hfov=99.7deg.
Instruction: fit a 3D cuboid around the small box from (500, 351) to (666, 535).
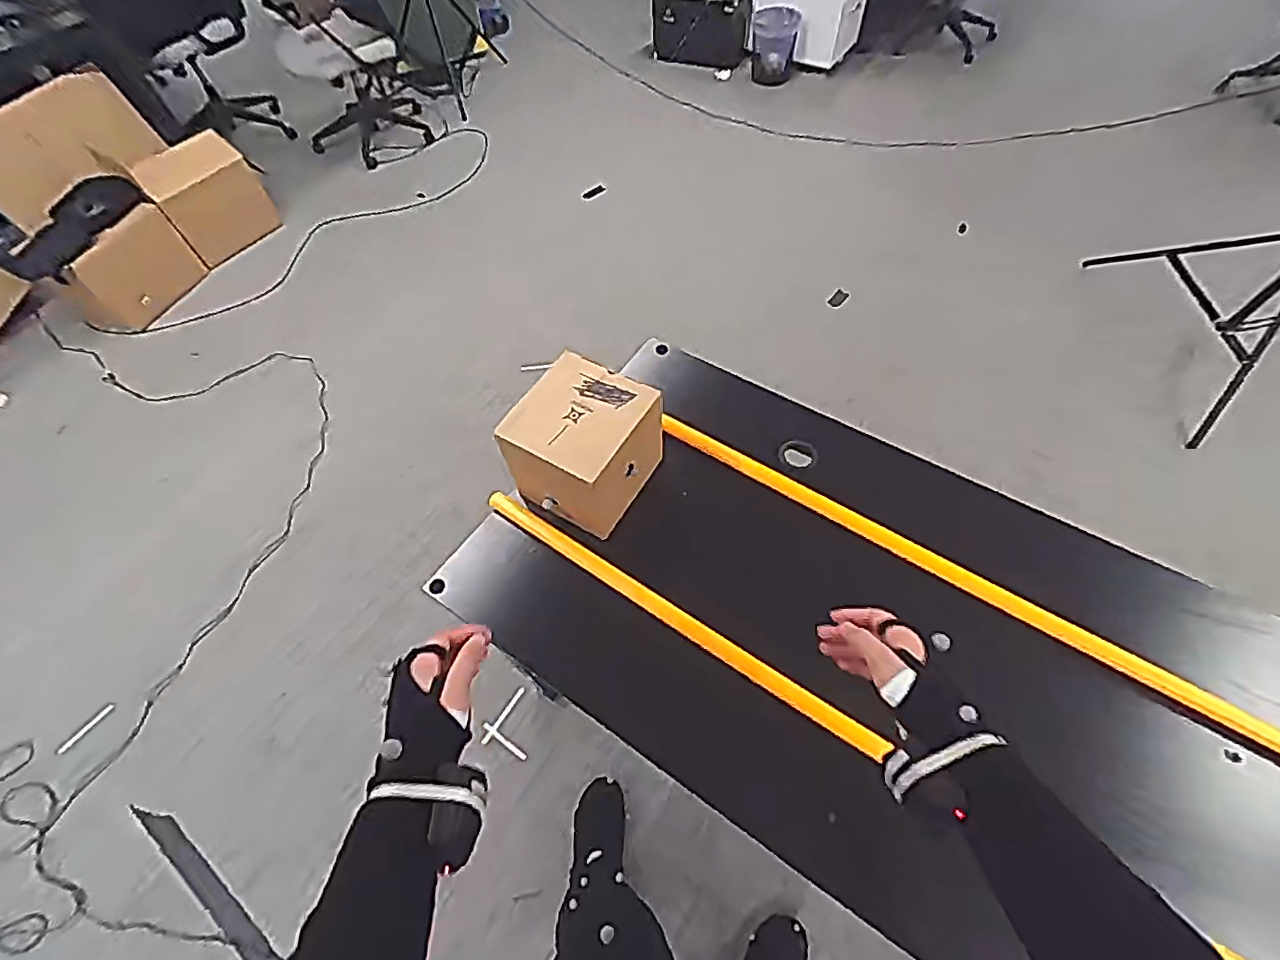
[{"bbox_3d":[-0.076,-0.052,0.805,0.168,0.176,0.179,27,64,18],"label":"small box"}]
